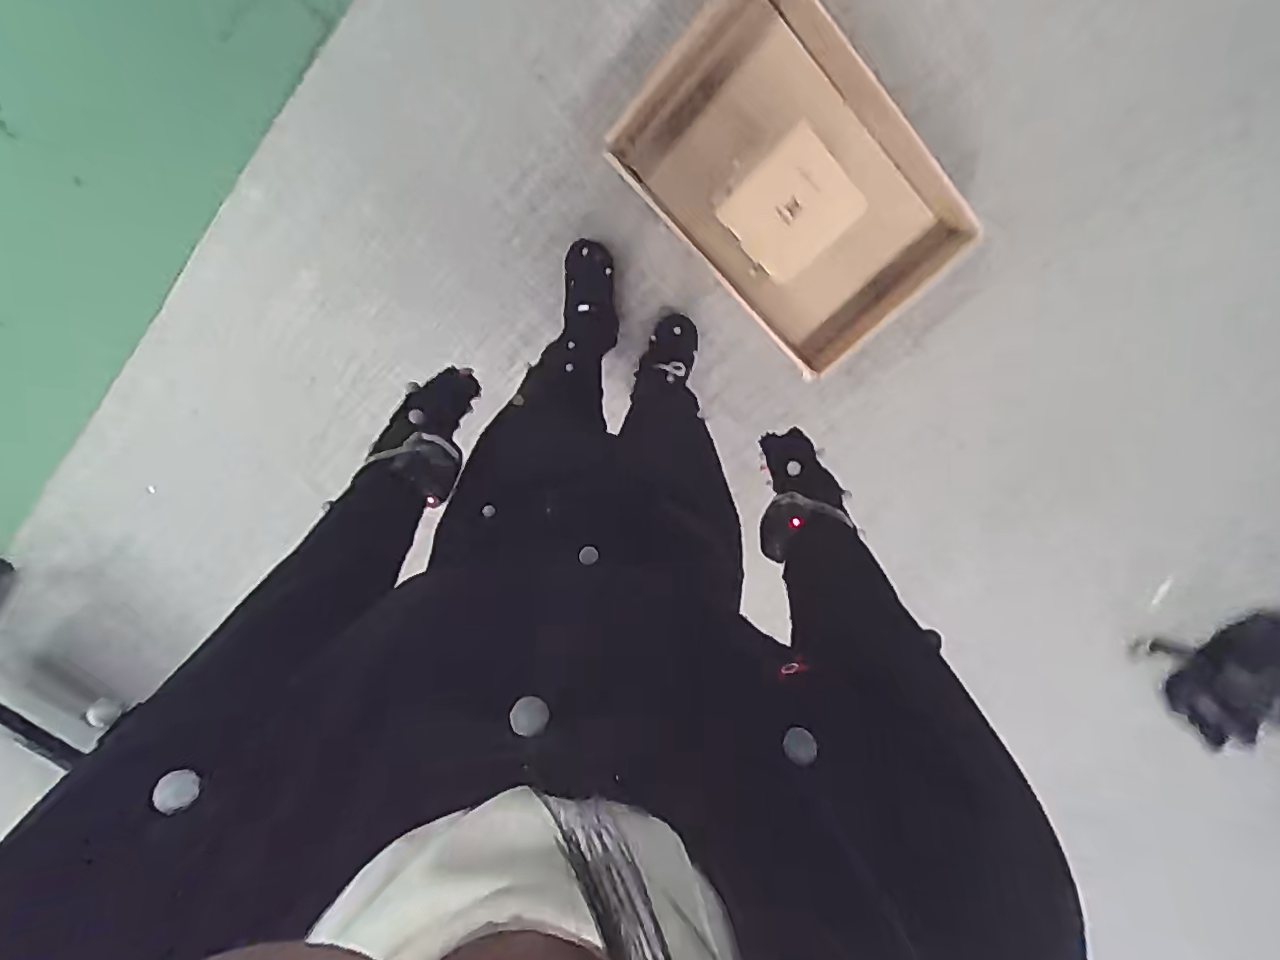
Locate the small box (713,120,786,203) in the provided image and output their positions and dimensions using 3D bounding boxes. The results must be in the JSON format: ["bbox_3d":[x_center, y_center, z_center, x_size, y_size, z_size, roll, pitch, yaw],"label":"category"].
[{"bbox_3d":[0.258,-0.548,1.045,0.168,0.176,0.179,-40,104,20],"label":"small box"}]

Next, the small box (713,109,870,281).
[{"bbox_3d":[0.238,-0.459,0.892,0.168,0.176,0.179,39,113,-13],"label":"small box"}]
